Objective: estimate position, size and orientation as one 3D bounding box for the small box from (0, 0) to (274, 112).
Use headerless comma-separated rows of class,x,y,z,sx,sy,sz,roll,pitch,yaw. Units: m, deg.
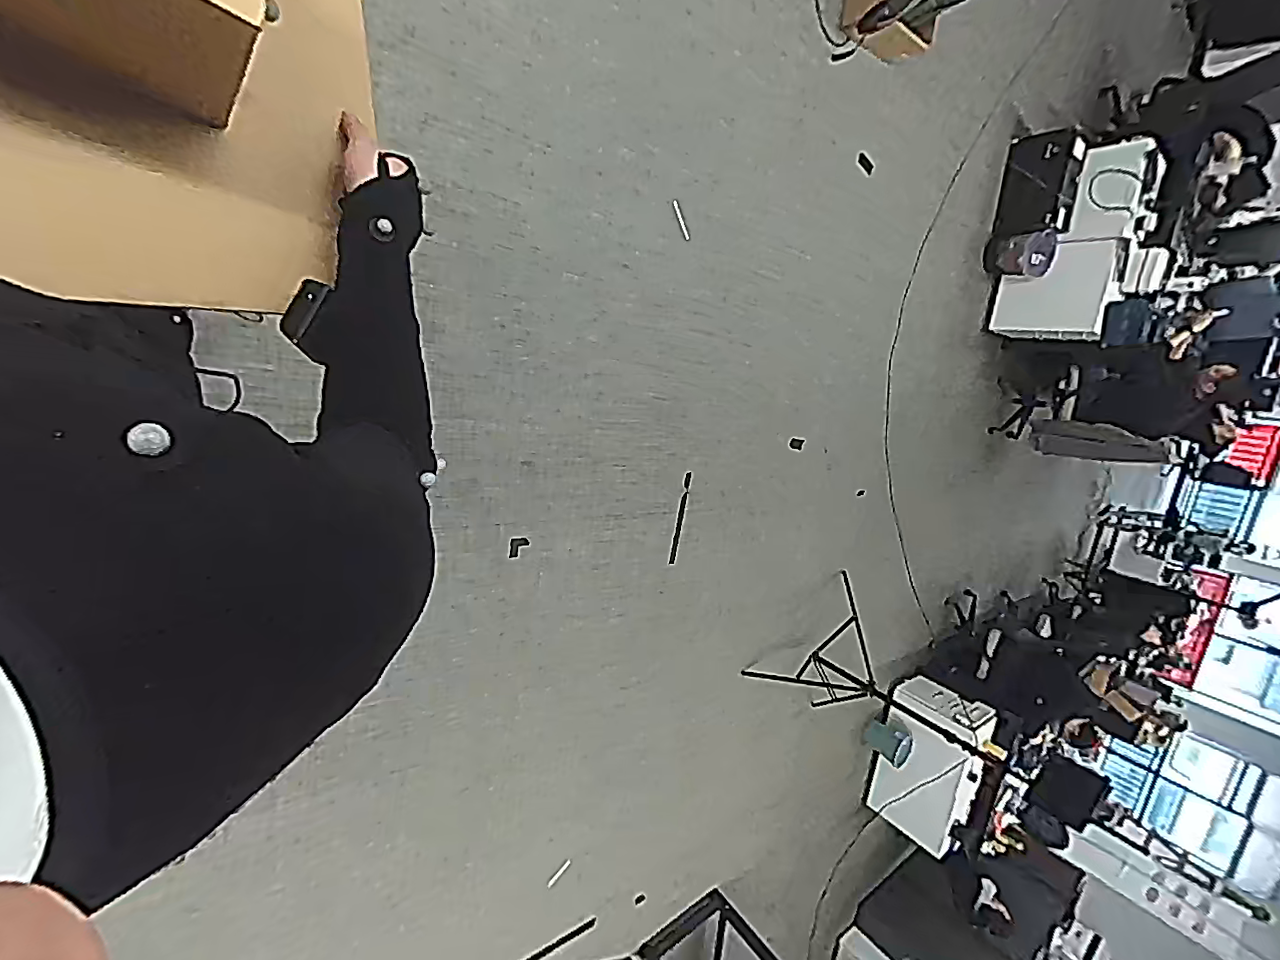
small box,-0.354,-0.385,0.357,0.179,0.176,0.168,6,91,-43
